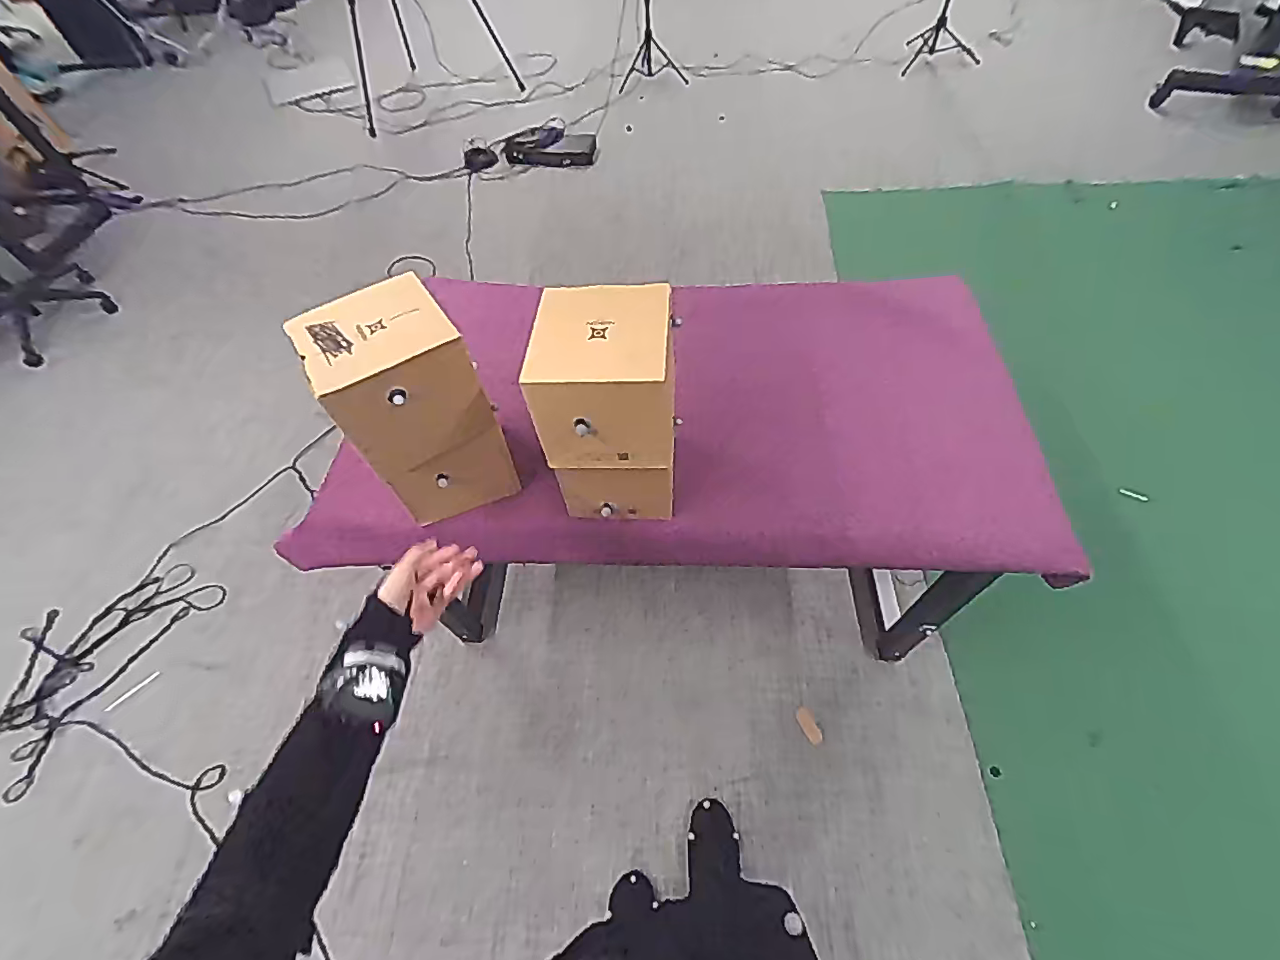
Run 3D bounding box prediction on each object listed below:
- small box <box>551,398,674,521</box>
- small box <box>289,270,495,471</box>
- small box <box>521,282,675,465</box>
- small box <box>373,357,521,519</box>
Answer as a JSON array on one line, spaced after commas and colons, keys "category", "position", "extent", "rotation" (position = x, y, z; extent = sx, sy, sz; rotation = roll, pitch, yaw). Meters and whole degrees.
[{"category": "small box", "position": [-0.032, -0.055, 0.851], "extent": [0.168, 0.176, 0.179], "rotation": [1, 56, 6]}, {"category": "small box", "position": [-0.324, -0.142, 0.728], "extent": [0.179, 0.176, 0.168], "rotation": [-30, 59, -17]}, {"category": "small box", "position": [-0.041, -0.133, 0.708], "extent": [0.168, 0.176, 0.179], "rotation": [0, 54, 6]}, {"category": "small box", "position": [-0.312, -0.062, 0.873], "extent": [0.179, 0.176, 0.168], "rotation": [-20, 57, -9]}]
